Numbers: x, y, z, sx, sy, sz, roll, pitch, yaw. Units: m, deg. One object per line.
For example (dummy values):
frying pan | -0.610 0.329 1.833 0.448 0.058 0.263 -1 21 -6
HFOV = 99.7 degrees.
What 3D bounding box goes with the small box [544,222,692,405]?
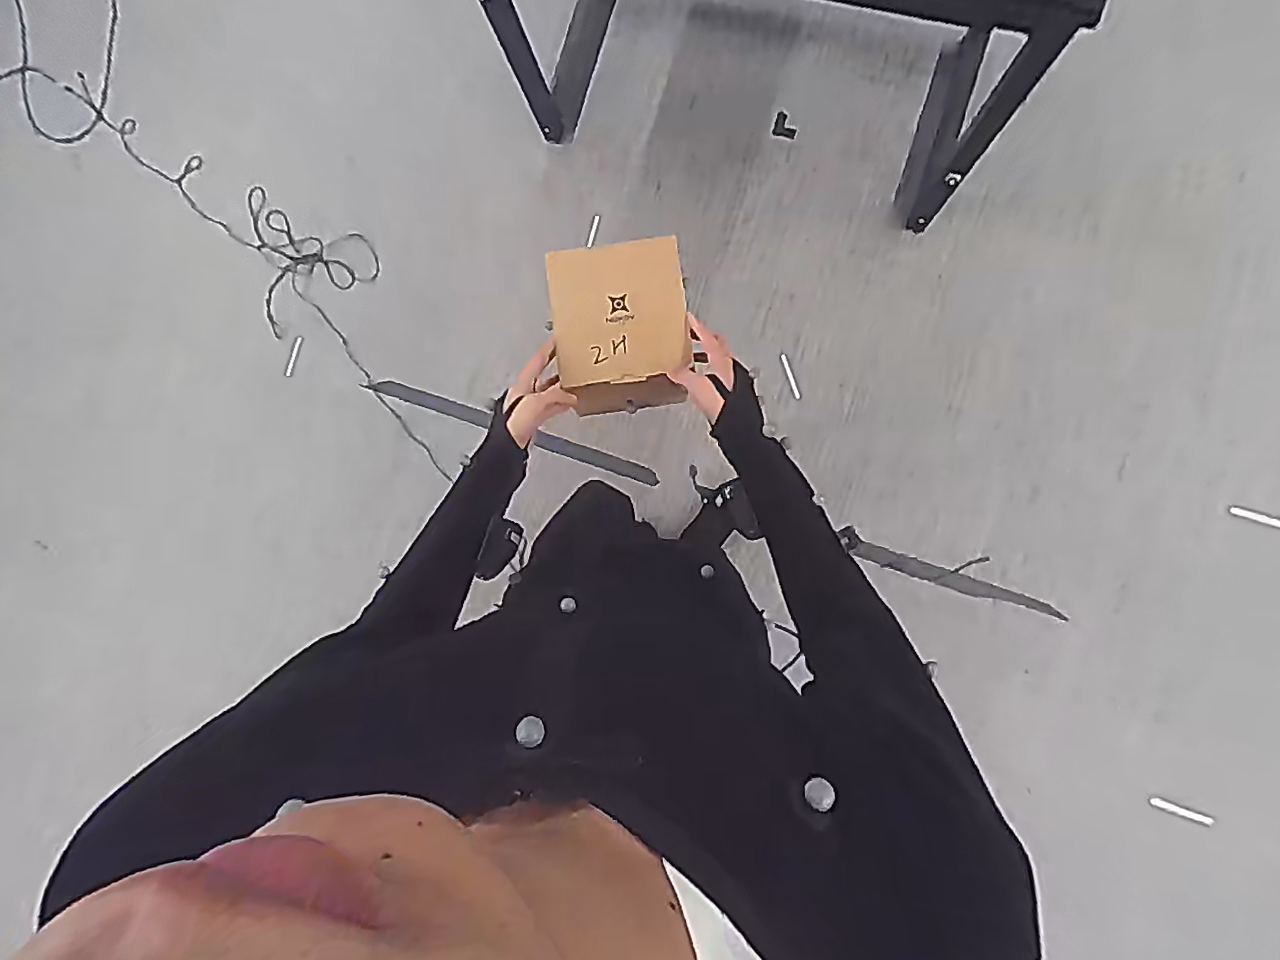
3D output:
small box | -0.027 -0.212 0.727 0.168 0.176 0.179 -7 86 1
